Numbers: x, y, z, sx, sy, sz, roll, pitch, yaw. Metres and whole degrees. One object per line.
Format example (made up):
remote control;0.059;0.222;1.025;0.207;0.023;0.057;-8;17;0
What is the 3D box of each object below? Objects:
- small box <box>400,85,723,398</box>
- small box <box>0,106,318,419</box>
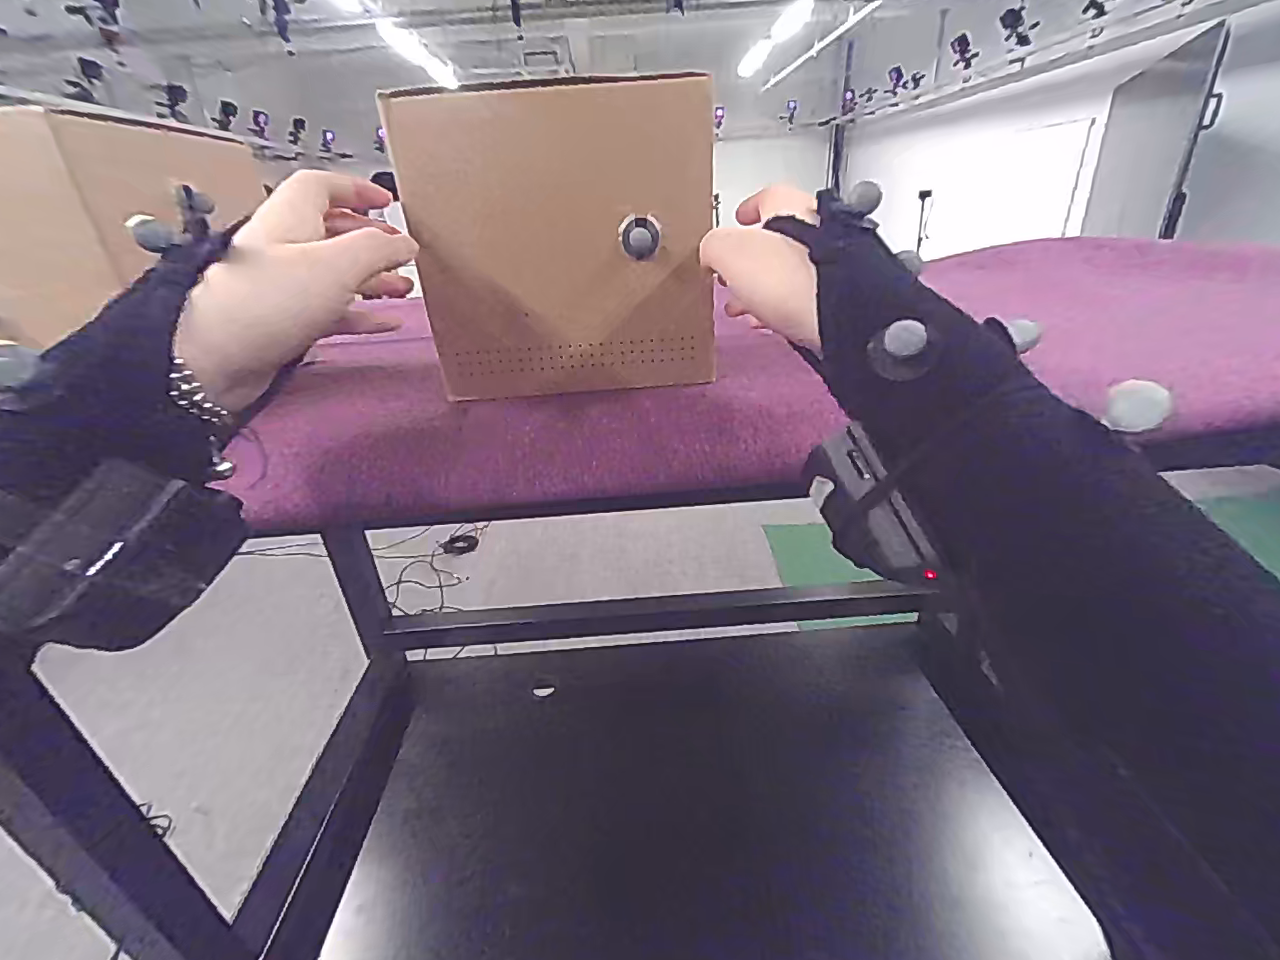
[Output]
small box;-0.042;-0.167;0.395;0.179;0.176;0.168;-5;26;-2
small box;-0.362;-0.145;0.379;0.168;0.176;0.179;-3;26;-3
